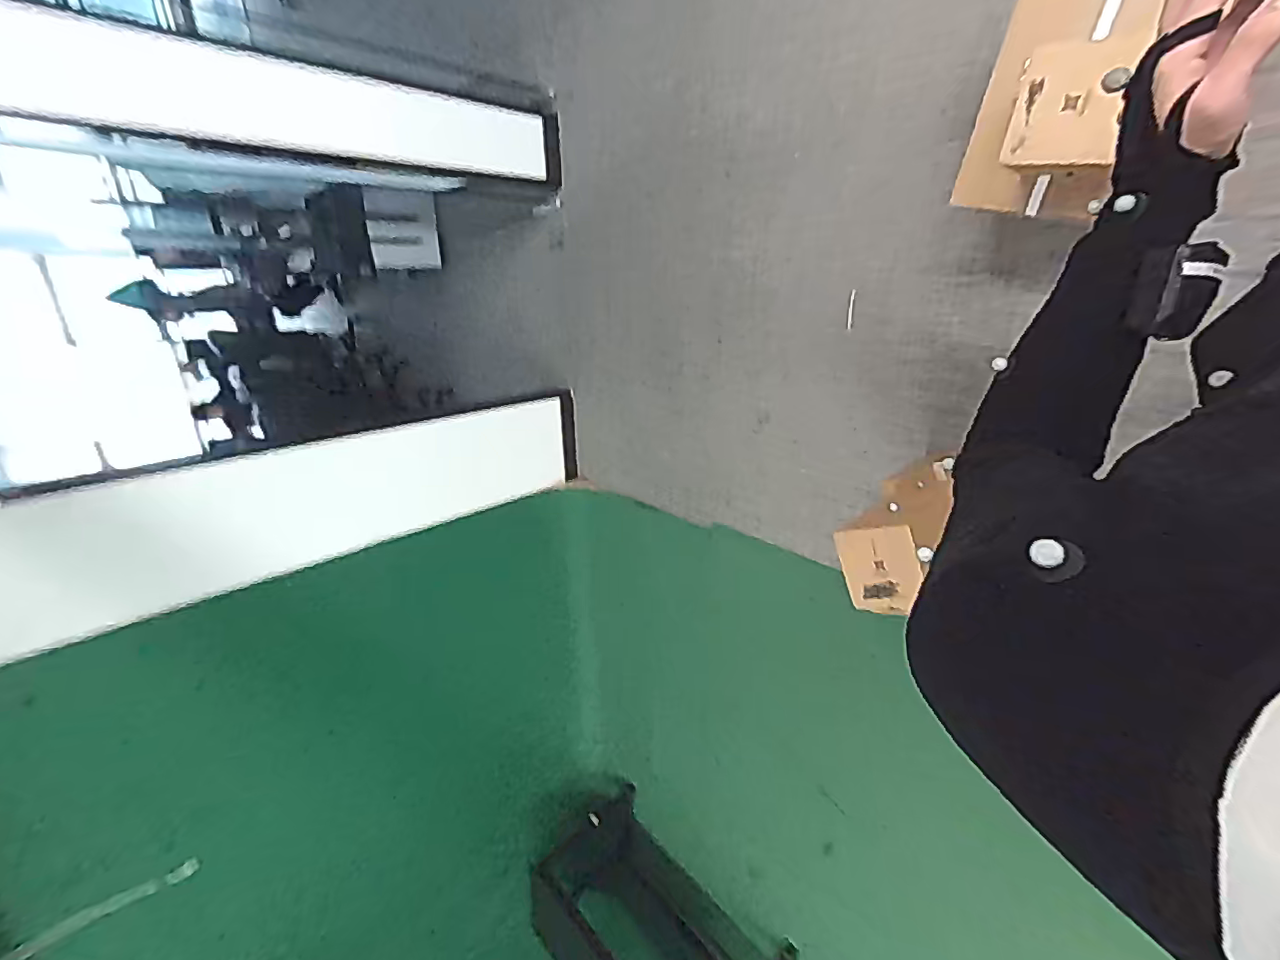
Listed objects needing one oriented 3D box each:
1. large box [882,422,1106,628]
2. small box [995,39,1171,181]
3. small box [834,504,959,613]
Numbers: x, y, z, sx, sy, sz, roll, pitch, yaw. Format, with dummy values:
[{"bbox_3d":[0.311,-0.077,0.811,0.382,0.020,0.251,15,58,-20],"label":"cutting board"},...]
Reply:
[{"bbox_3d":[0.895,0.113,1.371,0.320,0.320,0.408,-26,86,50],"label":"large box"},{"bbox_3d":[0.734,-0.600,0.898,0.179,0.176,0.168,26,122,37],"label":"small box"},{"bbox_3d":[0.546,0.164,1.143,0.168,0.176,0.179,-15,93,49],"label":"small box"}]
